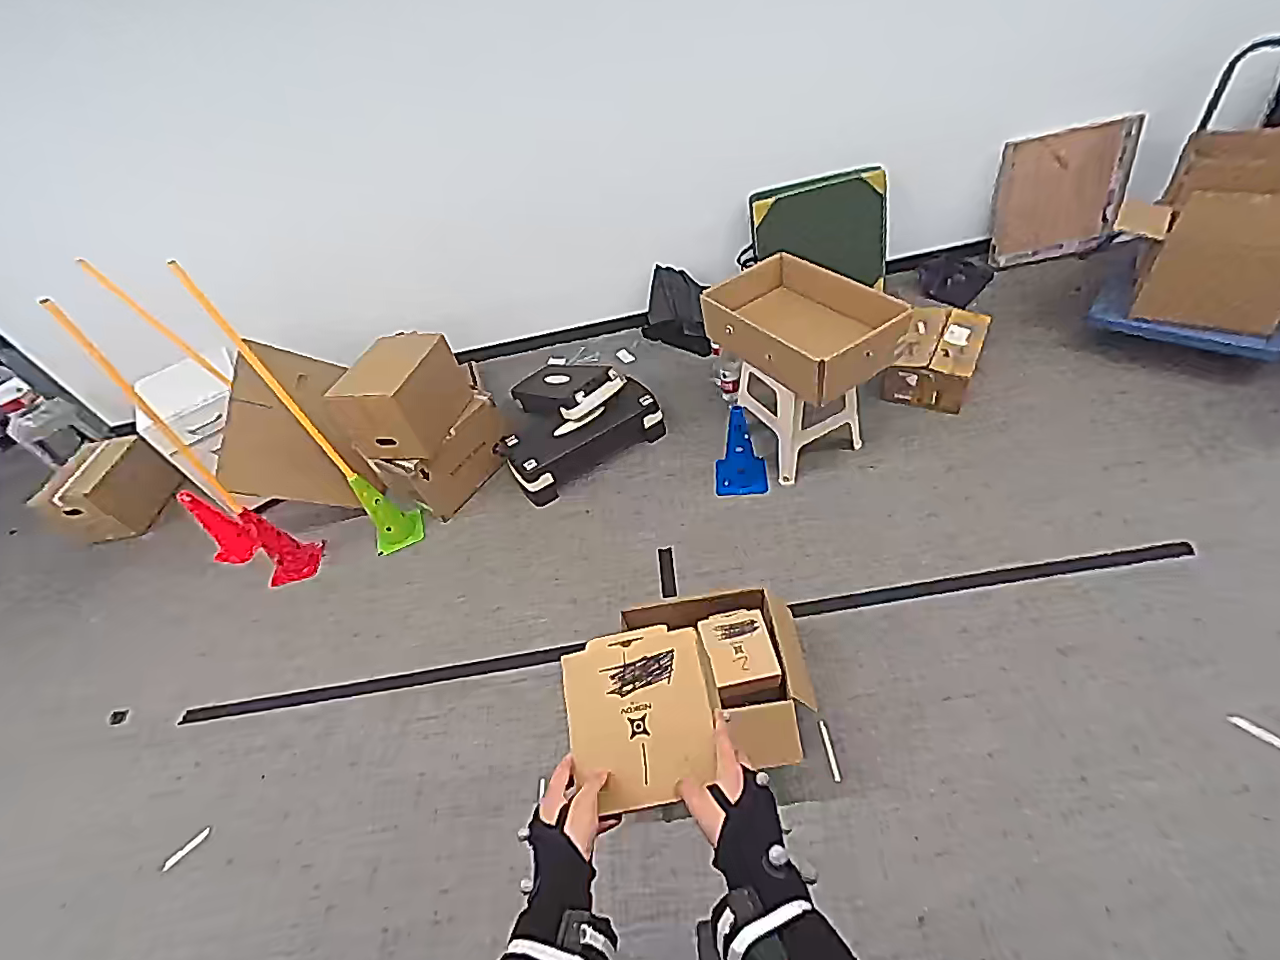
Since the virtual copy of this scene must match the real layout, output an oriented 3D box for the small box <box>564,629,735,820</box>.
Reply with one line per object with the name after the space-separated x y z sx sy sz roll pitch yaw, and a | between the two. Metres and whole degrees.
0.015 0.304 0.667 0.168 0.176 0.179 -15 59 7 | small box
